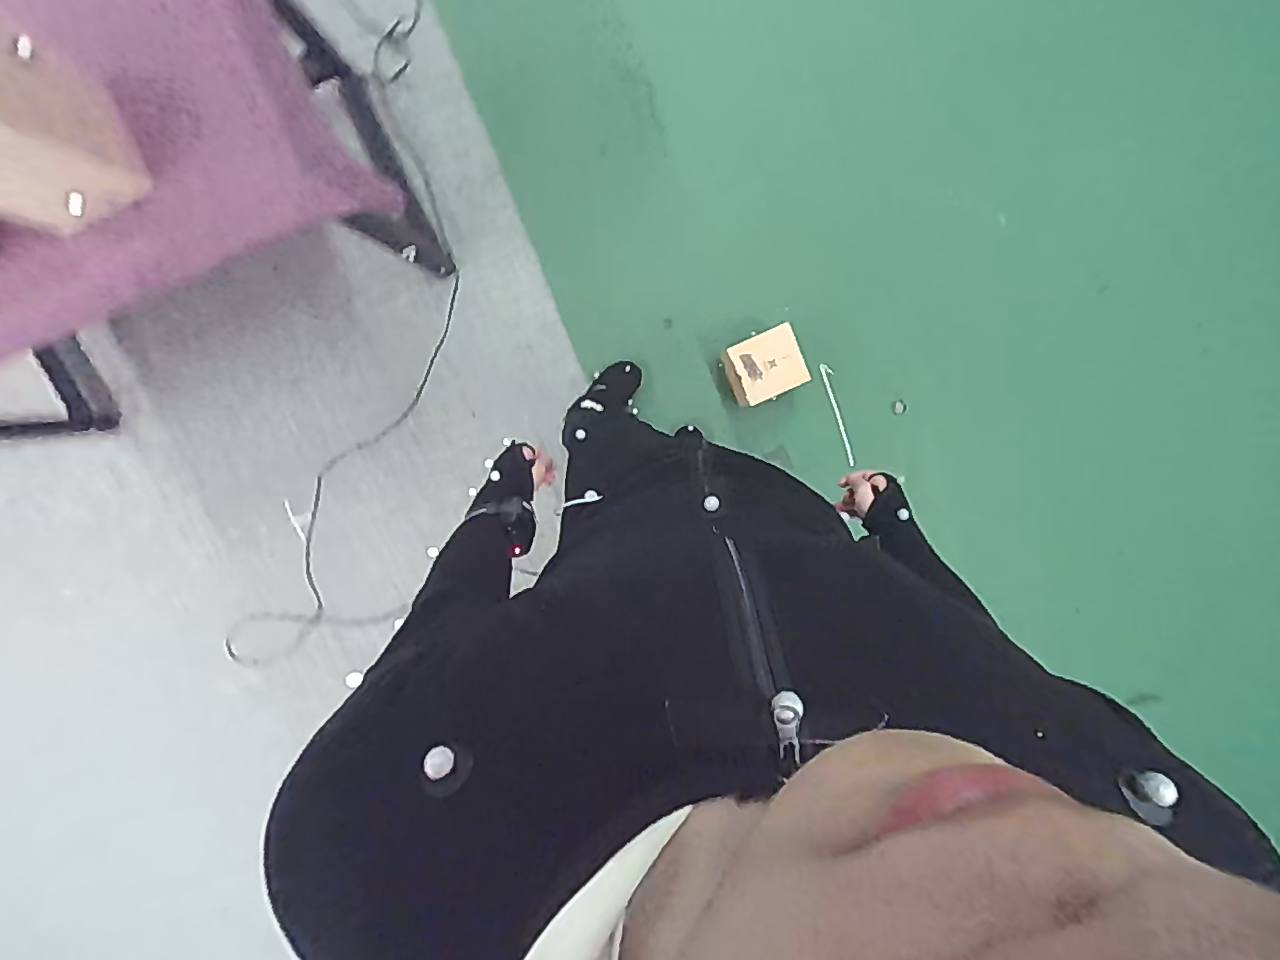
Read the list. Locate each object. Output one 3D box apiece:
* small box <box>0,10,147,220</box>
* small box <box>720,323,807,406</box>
[{"bbox_3d":[-0.843,-0.489,0.729,0.168,0.176,0.179,-22,98,4],"label":"small box"},{"bbox_3d":[0.331,-0.311,1.489,0.179,0.176,0.168,-23,98,3],"label":"small box"}]
